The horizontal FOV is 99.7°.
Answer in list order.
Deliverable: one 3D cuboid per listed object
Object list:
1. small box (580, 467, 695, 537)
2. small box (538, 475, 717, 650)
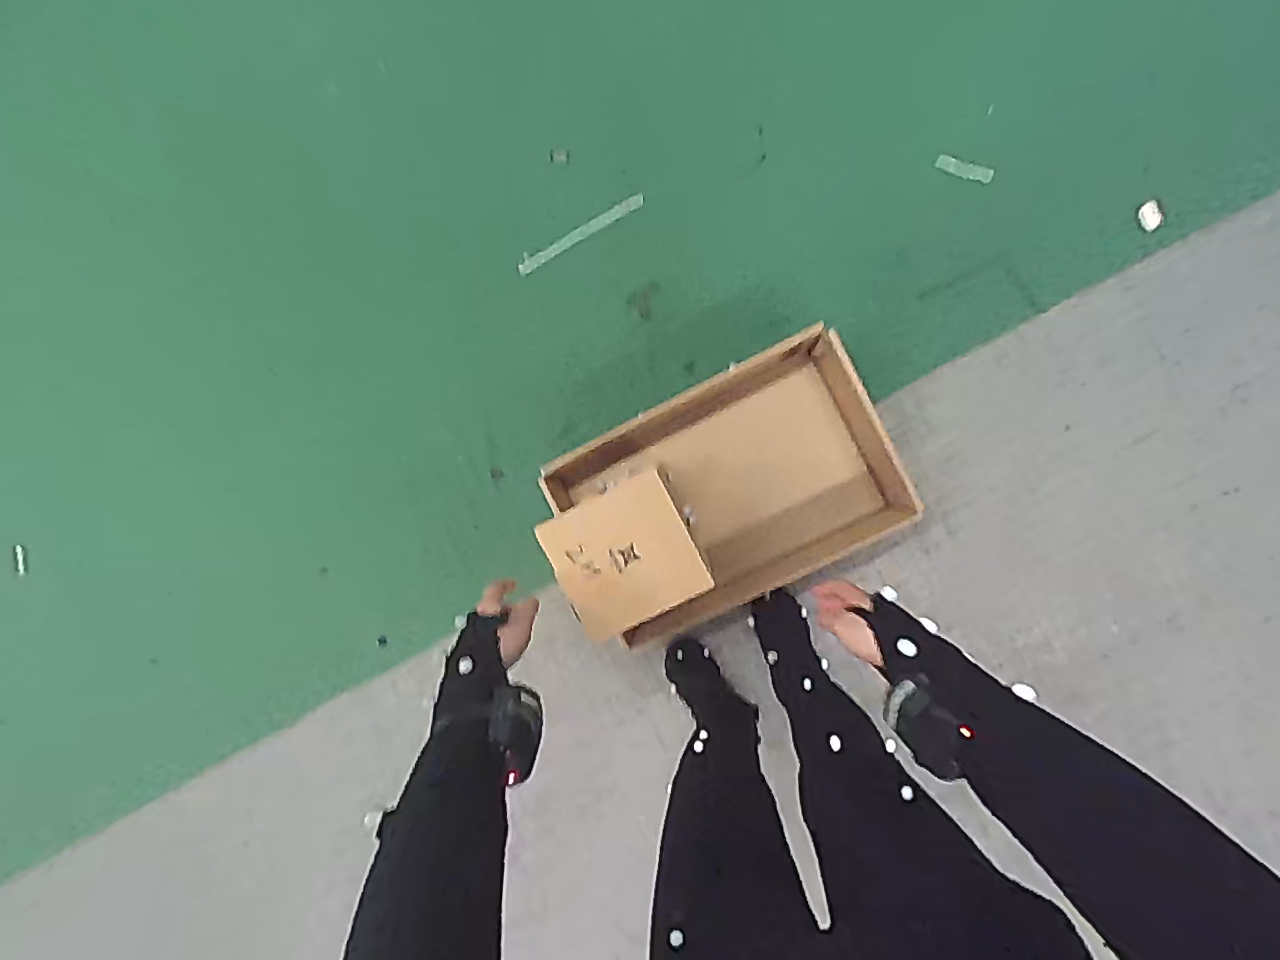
[{"bbox_3d":[0.004,0.084,1.077,0.168,0.176,0.179,-28,90,5],"label":"small box"},{"bbox_3d":[-0.012,0.100,0.748,0.179,0.176,0.168,-28,89,5],"label":"small box"}]
